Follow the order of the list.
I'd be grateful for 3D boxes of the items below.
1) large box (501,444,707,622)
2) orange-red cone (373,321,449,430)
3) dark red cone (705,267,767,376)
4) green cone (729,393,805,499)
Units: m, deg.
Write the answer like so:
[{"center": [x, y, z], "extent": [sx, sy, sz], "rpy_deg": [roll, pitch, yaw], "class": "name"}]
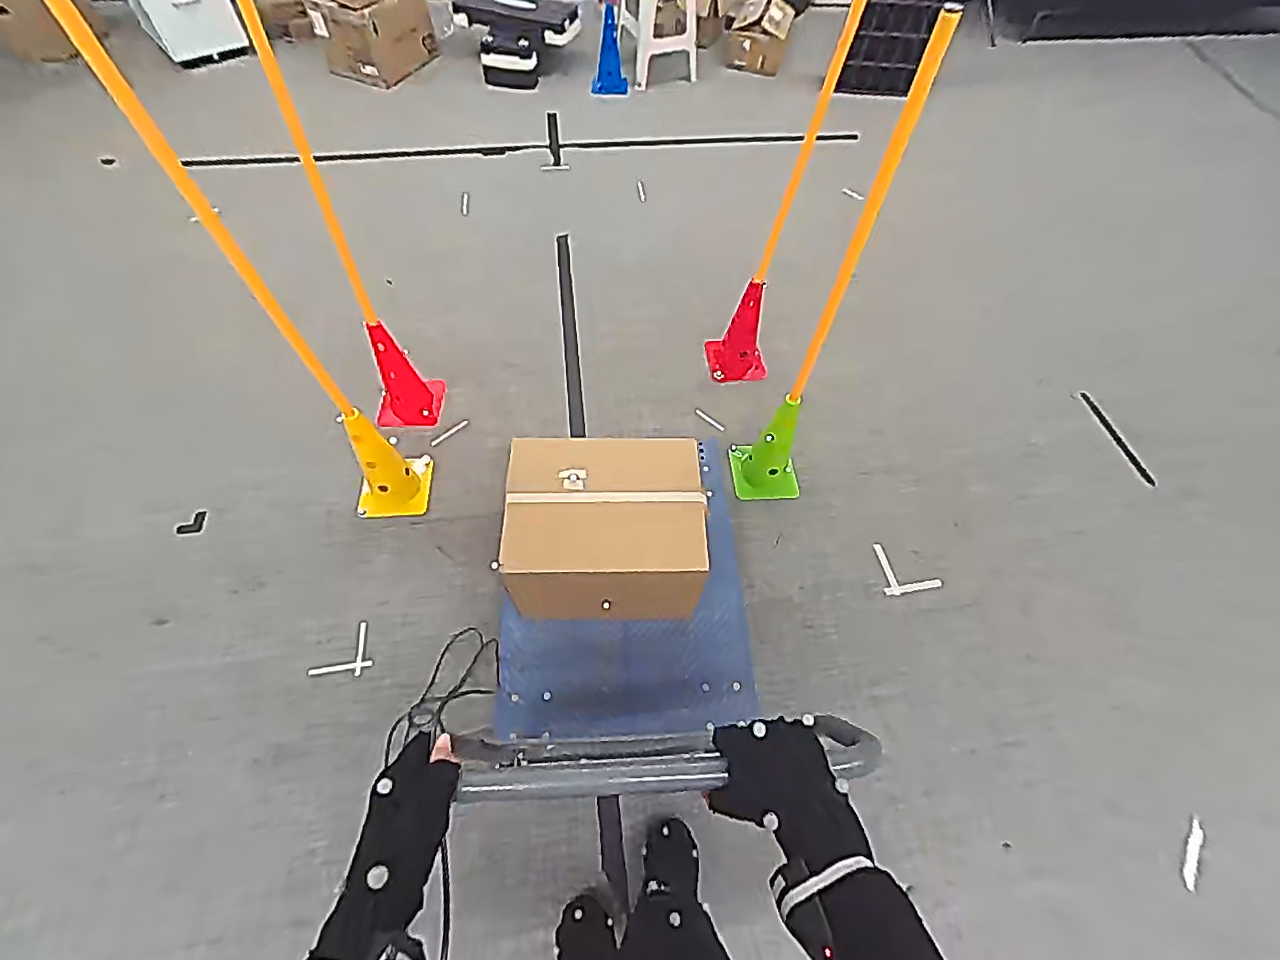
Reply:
[{"center": [-0.073, 0.132, 1.240], "extent": [0.408, 0.320, 0.320], "rpy_deg": [0, 58, -2], "class": "large box"}, {"center": [-0.749, -0.344, 1.681], "extent": [0.198, 0.360, 0.199], "rpy_deg": [1, 57, -3], "class": "orange-red cone"}, {"center": [0.359, -0.538, 1.822], "extent": [0.201, 0.394, 0.202], "rpy_deg": [-5, 59, -7], "class": "dark red cone"}, {"center": [0.404, -0.117, 1.583], "extent": [0.202, 0.368, 0.200], "rpy_deg": [-2, 58, -5], "class": "green cone"}]
